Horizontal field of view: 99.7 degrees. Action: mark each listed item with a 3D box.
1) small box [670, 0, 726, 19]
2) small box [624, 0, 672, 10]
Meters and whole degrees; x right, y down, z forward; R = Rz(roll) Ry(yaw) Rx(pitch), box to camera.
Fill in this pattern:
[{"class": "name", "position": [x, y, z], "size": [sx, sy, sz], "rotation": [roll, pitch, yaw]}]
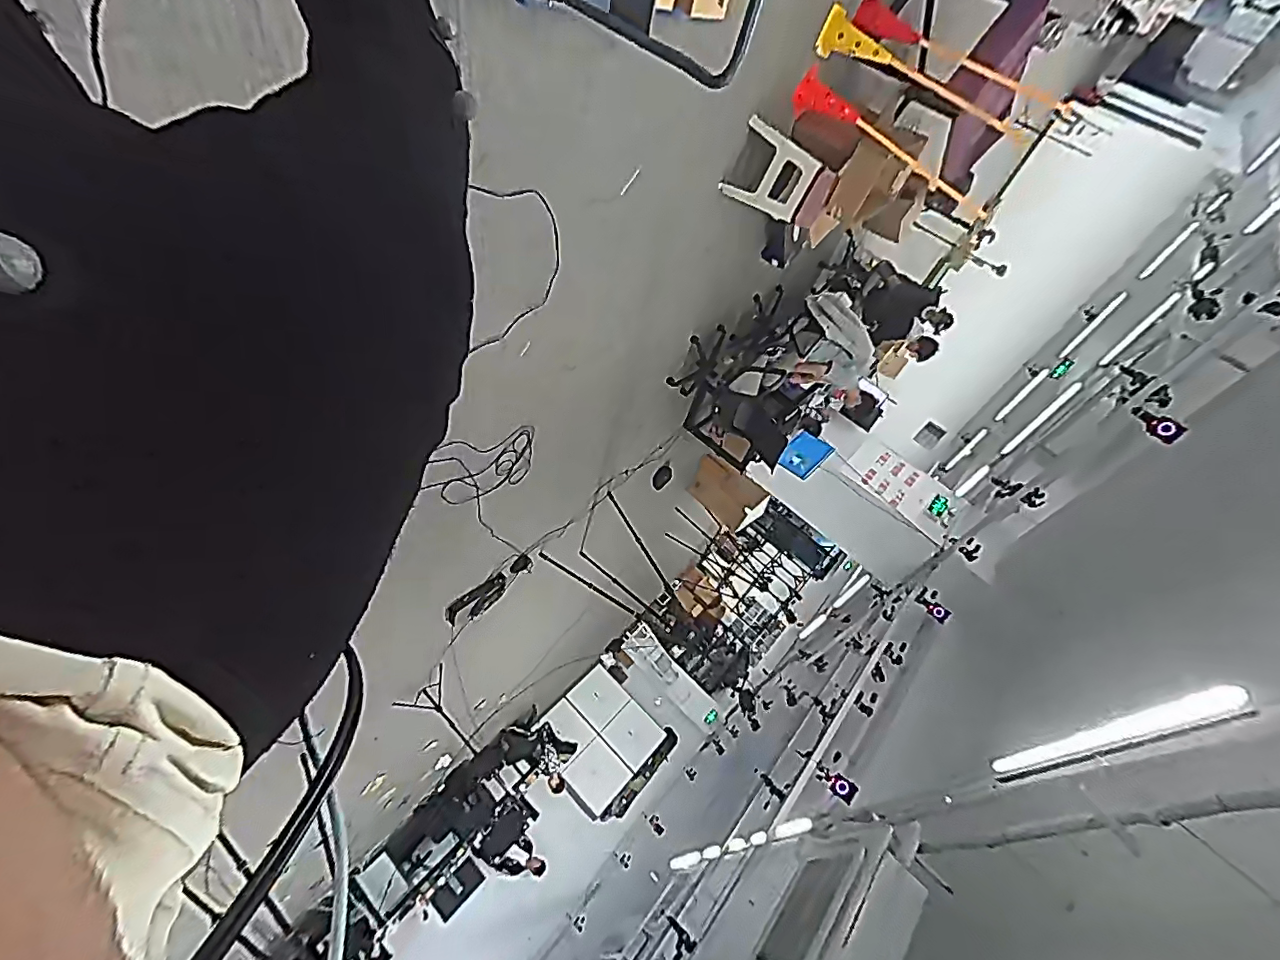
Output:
[{"class": "small box", "position": [0.158, -1.504, 1.603], "size": [0.179, 0.176, 0.168], "rotation": [-35, 157, -36]}, {"class": "small box", "position": [-0.008, -1.395, 1.440], "size": [0.179, 0.176, 0.168], "rotation": [-33, 156, -38]}]
